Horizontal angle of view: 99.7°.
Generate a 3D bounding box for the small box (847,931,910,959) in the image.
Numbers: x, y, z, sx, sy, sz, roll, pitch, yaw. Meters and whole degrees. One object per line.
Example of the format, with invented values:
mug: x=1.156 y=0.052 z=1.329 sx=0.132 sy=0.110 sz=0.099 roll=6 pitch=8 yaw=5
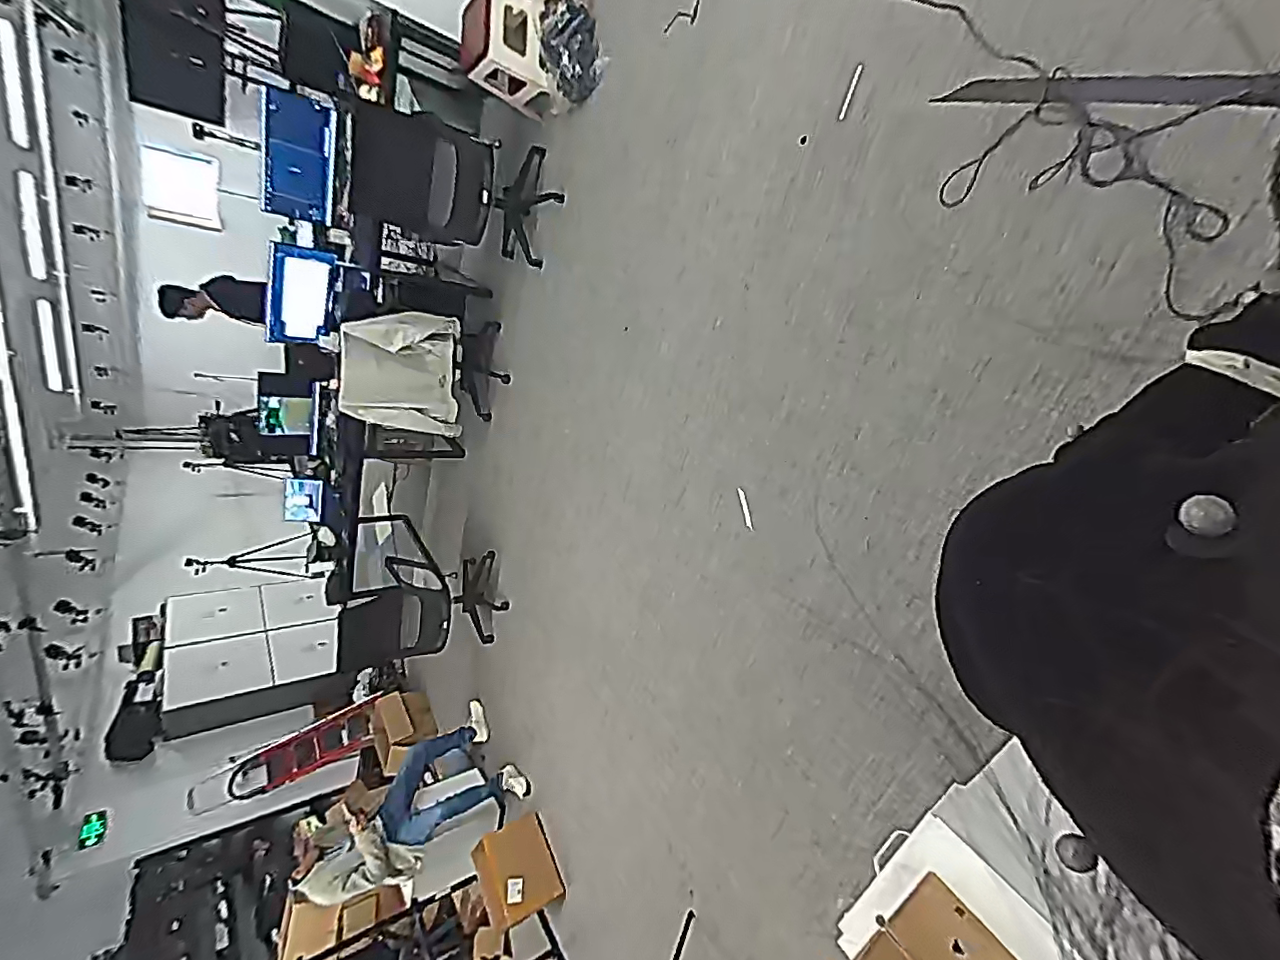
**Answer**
small box: x=0.324 y=0.790 z=0.745 sx=0.168 sy=0.176 sz=0.179 roll=40 pitch=122 yaw=40
